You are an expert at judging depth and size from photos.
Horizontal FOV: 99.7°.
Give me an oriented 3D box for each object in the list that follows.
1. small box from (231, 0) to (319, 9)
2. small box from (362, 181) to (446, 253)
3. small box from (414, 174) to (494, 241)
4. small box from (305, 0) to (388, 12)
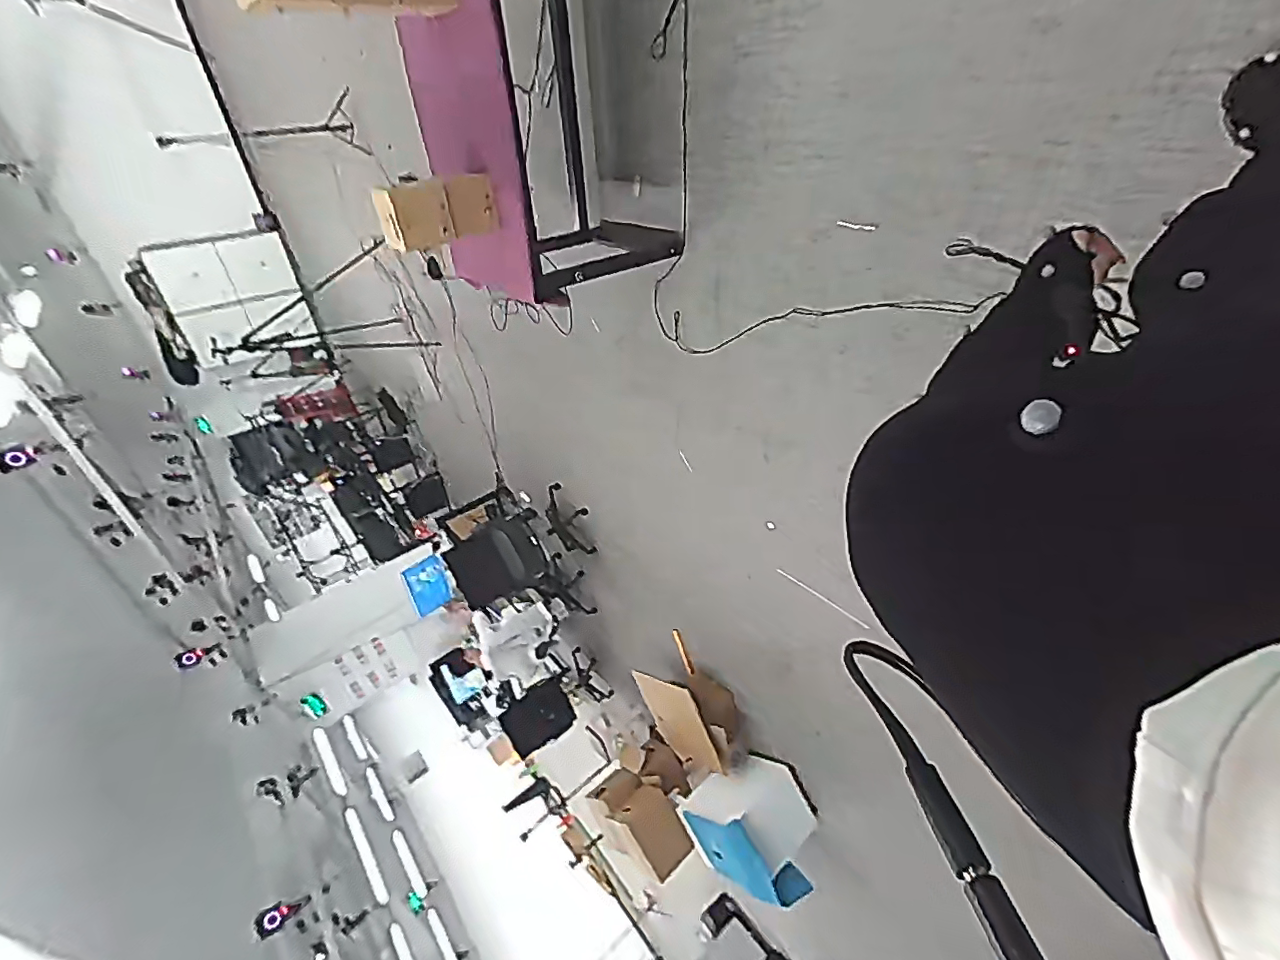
[{"bbox_3d":[-0.866,-1.202,1.242,0.179,0.176,0.168,32,139,41],"label":"small box"},{"bbox_3d":[-0.714,-0.810,1.656,0.179,0.176,0.168,33,140,40],"label":"small box"},{"bbox_3d":[-0.597,-0.882,1.744,0.179,0.176,0.168,32,138,39],"label":"small box"},{"bbox_3d":[-0.743,-1.267,1.328,0.179,0.176,0.168,33,139,39],"label":"small box"}]
